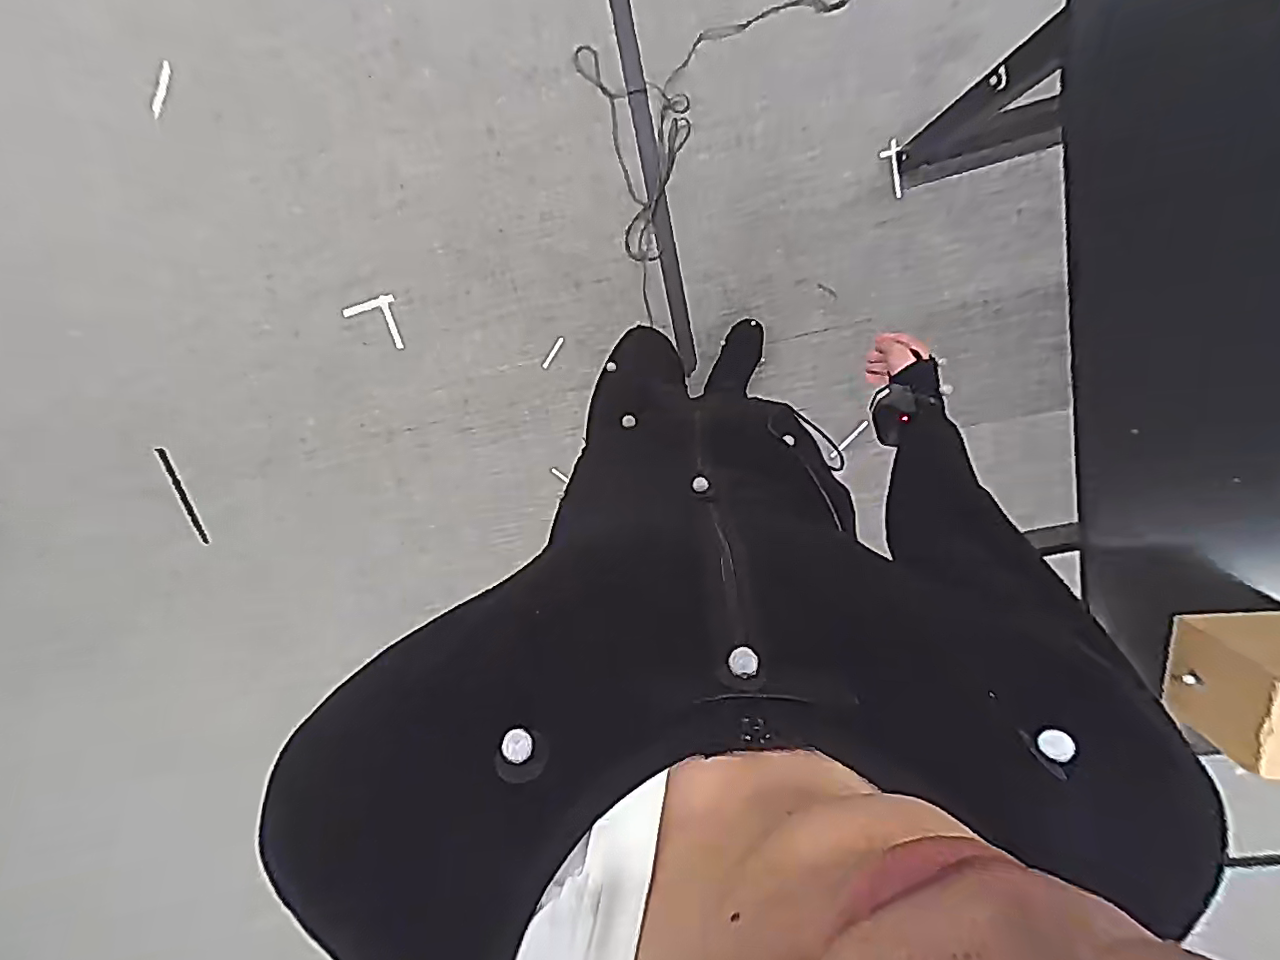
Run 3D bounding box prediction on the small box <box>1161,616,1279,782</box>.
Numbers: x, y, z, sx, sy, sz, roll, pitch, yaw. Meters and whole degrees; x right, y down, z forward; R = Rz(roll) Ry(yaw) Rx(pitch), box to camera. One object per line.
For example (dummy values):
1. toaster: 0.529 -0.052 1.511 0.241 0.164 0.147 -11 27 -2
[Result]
1. small box: 0.942 0.313 0.797 0.179 0.176 0.168 -4 105 8
